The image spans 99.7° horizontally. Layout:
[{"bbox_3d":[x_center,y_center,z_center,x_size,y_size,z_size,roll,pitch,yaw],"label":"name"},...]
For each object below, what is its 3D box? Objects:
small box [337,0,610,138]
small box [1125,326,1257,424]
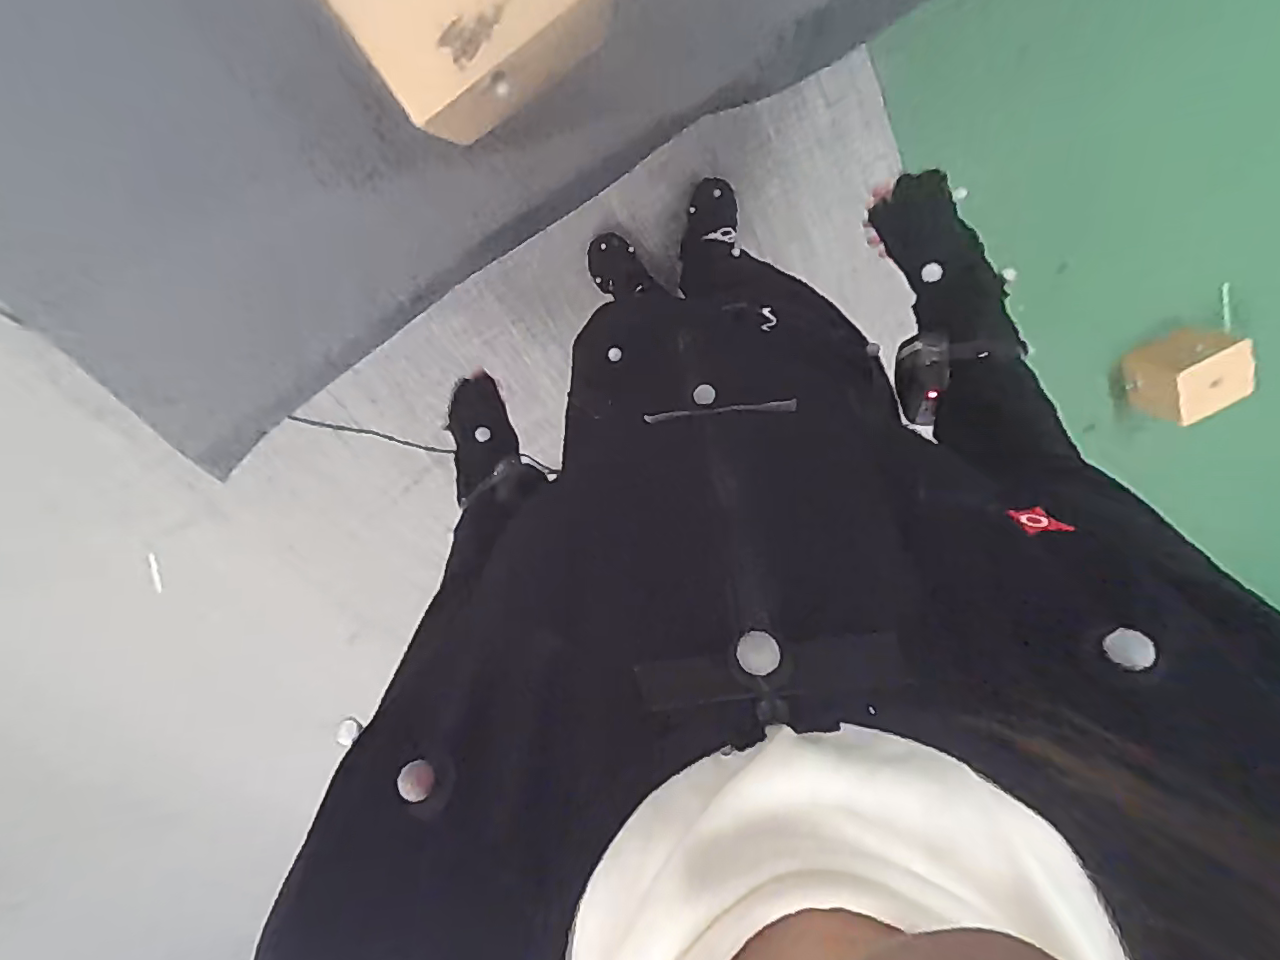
[{"bbox_3d":[-0.136,-0.389,0.398,0.168,0.176,0.179,-30,115,11],"label":"small box"},{"bbox_3d":[1.424,-0.280,1.404,0.179,0.176,0.168,-28,115,10],"label":"small box"}]
